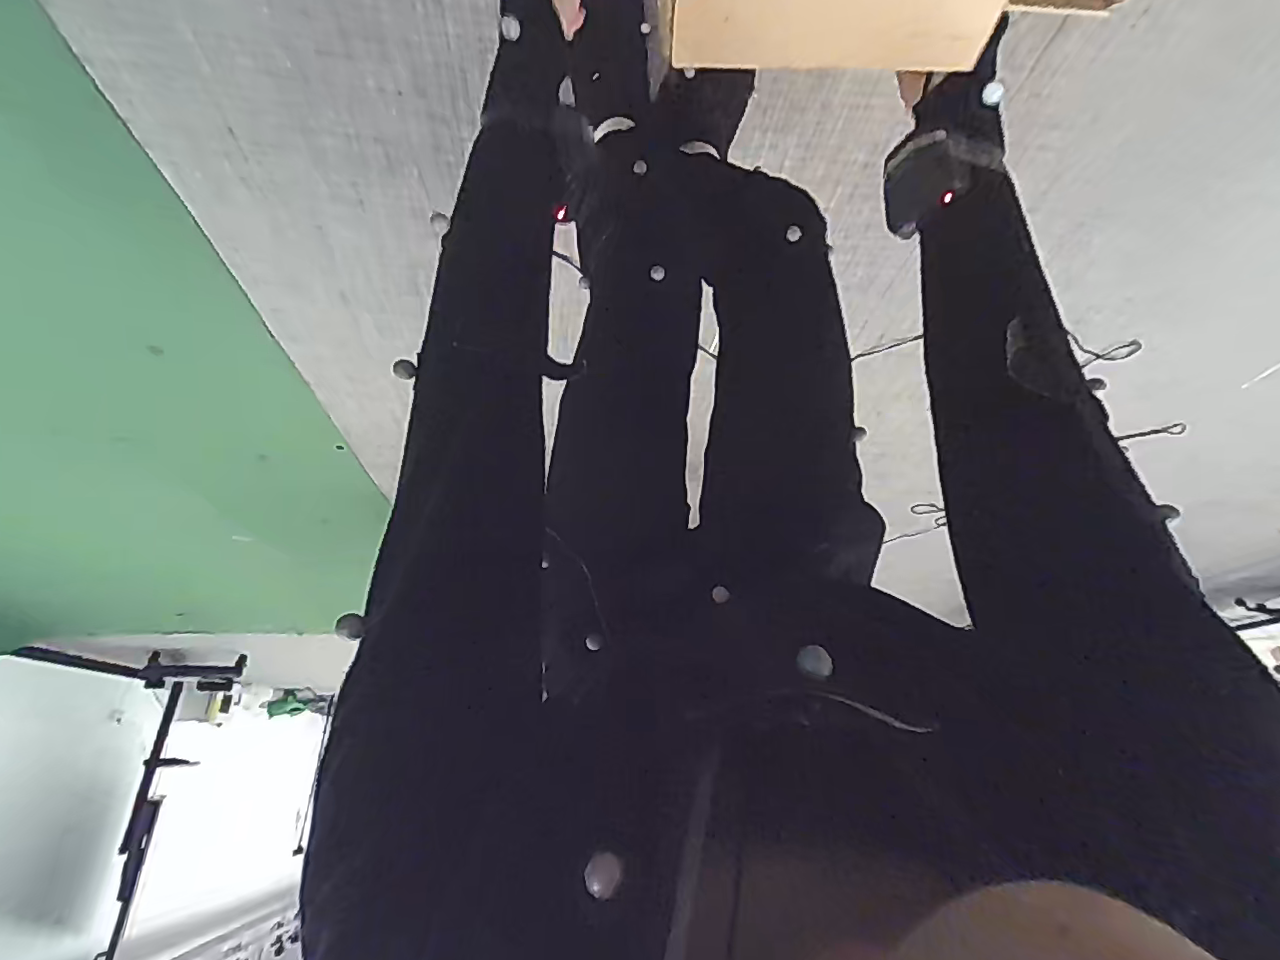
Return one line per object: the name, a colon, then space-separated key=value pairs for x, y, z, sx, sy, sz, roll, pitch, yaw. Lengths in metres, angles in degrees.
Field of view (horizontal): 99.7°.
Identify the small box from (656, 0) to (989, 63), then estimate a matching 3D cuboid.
small box: x=0.096 y=-0.346 z=0.267 sx=0.179 sy=0.176 sz=0.168 roll=-2 pitch=155 yaw=-3
